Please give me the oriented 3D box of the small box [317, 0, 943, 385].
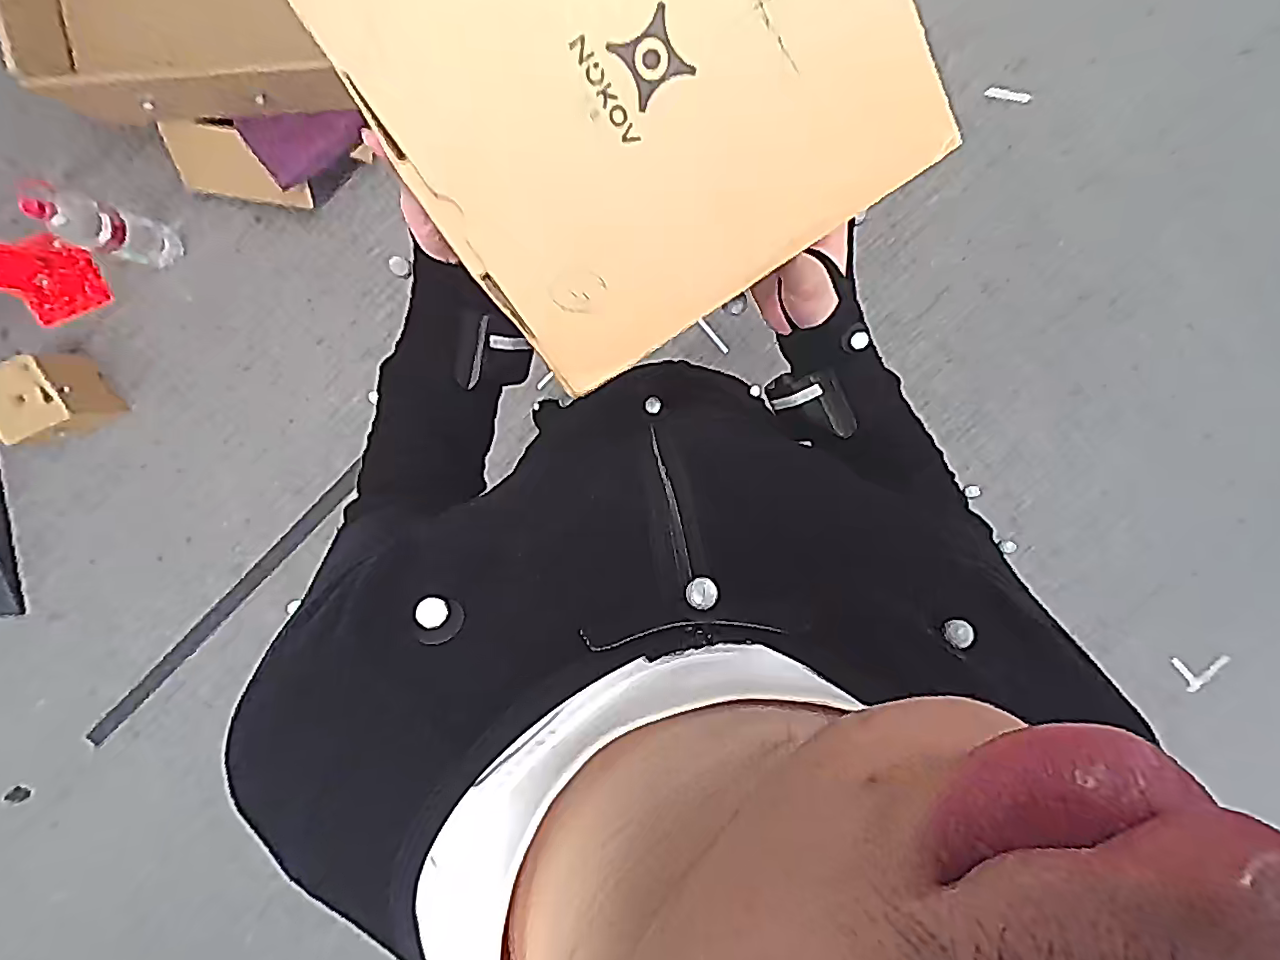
[{"bbox_3d":[-0.001,-0.175,0.270,0.179,0.176,0.168,-33,111,9],"label":"small box"}]
